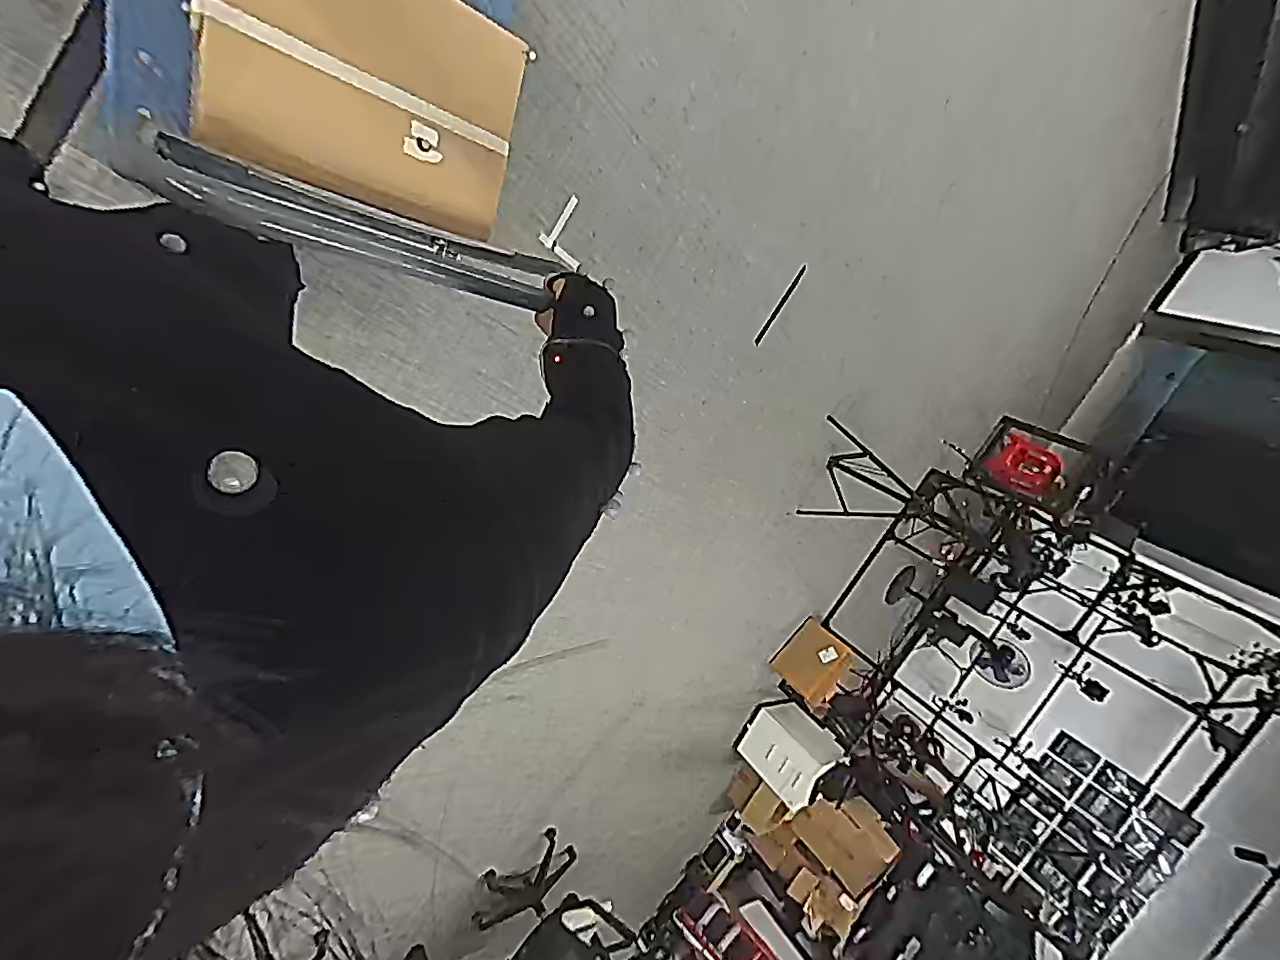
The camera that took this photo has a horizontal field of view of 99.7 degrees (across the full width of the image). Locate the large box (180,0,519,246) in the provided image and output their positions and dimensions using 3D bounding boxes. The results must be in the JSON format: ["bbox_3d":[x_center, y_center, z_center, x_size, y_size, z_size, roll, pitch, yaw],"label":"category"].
[{"bbox_3d":[-0.475,-0.615,0.877,0.408,0.320,0.320,2,114,-44],"label":"large box"}]
